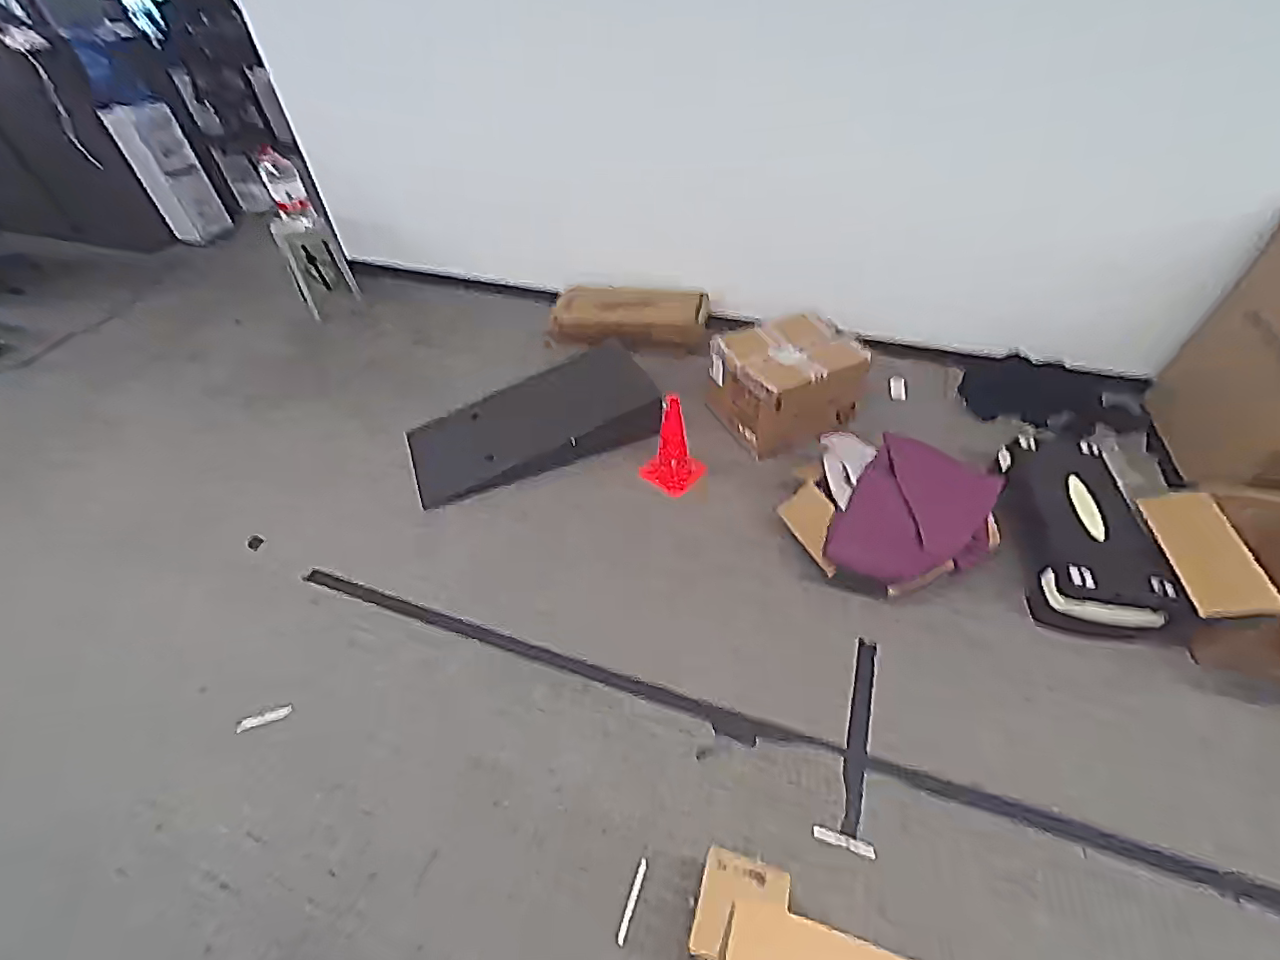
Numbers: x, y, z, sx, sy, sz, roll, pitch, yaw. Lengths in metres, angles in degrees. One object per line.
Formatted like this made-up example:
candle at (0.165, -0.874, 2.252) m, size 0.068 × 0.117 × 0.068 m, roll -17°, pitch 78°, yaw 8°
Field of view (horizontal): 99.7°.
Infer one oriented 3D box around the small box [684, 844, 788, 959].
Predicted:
small box at (0.192, 0.876, 1.087) m, size 0.168 × 0.176 × 0.179 m, roll 13°, pitch 48°, yaw 15°

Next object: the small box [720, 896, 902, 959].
small box at (0.137, 0.513, 0.455) m, size 0.168 × 0.176 × 0.179 m, roll 11°, pitch 32°, yaw 15°
